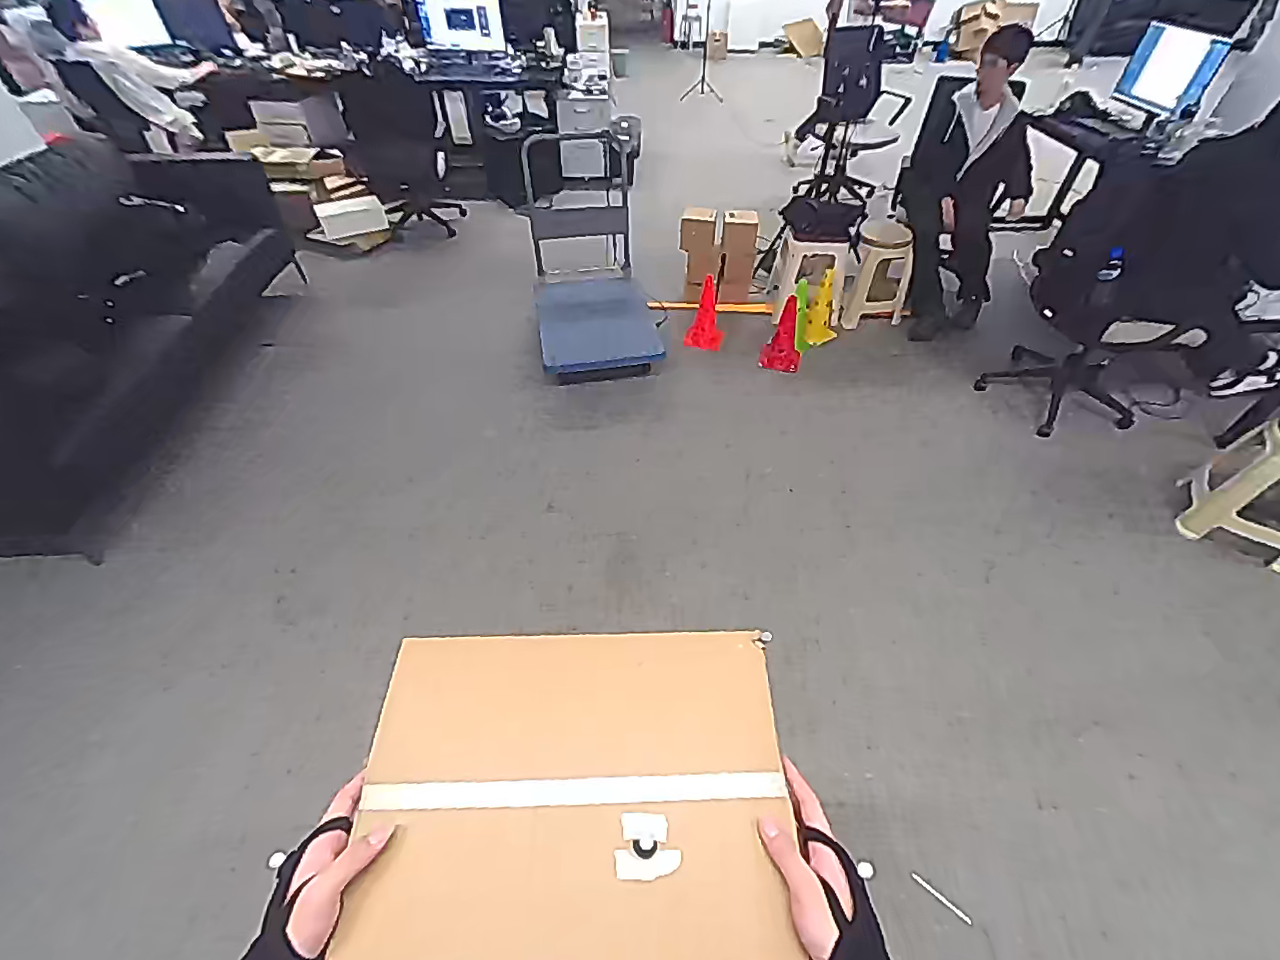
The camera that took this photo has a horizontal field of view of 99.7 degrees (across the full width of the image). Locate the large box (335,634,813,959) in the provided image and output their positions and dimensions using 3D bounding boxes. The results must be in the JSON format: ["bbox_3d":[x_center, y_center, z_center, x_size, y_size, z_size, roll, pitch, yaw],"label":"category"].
[{"bbox_3d":[-0.062,0.398,0.643,0.408,0.320,0.320,-1,50,-2],"label":"large box"}]
